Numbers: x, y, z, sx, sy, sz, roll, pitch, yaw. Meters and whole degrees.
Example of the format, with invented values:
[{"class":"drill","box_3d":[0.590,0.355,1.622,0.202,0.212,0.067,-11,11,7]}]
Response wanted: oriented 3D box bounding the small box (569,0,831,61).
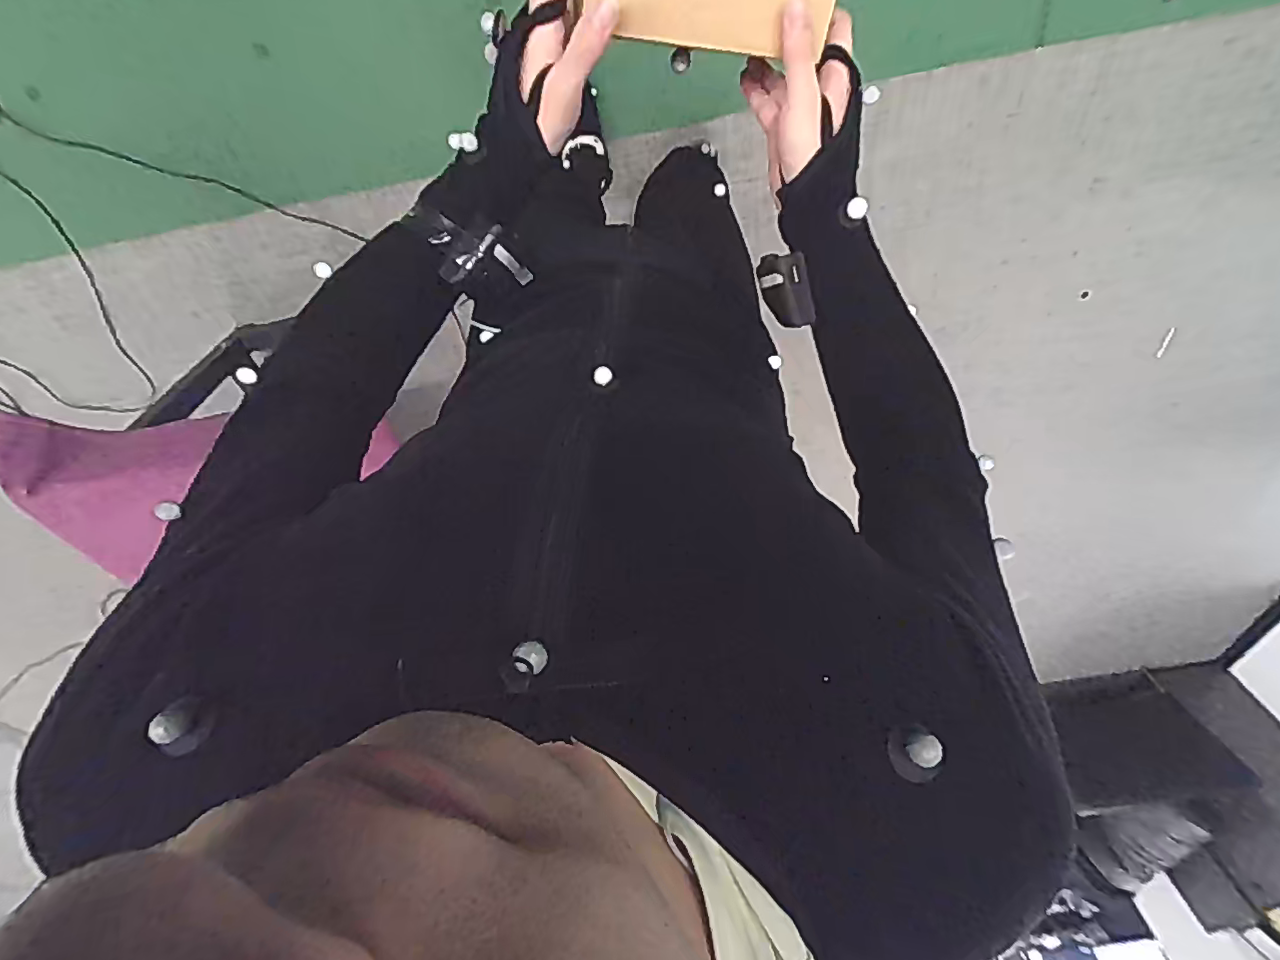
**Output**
[{"class":"small box","box_3d":[0.042,-0.422,0.386,0.179,0.176,0.168,-1,132,-11]}]
